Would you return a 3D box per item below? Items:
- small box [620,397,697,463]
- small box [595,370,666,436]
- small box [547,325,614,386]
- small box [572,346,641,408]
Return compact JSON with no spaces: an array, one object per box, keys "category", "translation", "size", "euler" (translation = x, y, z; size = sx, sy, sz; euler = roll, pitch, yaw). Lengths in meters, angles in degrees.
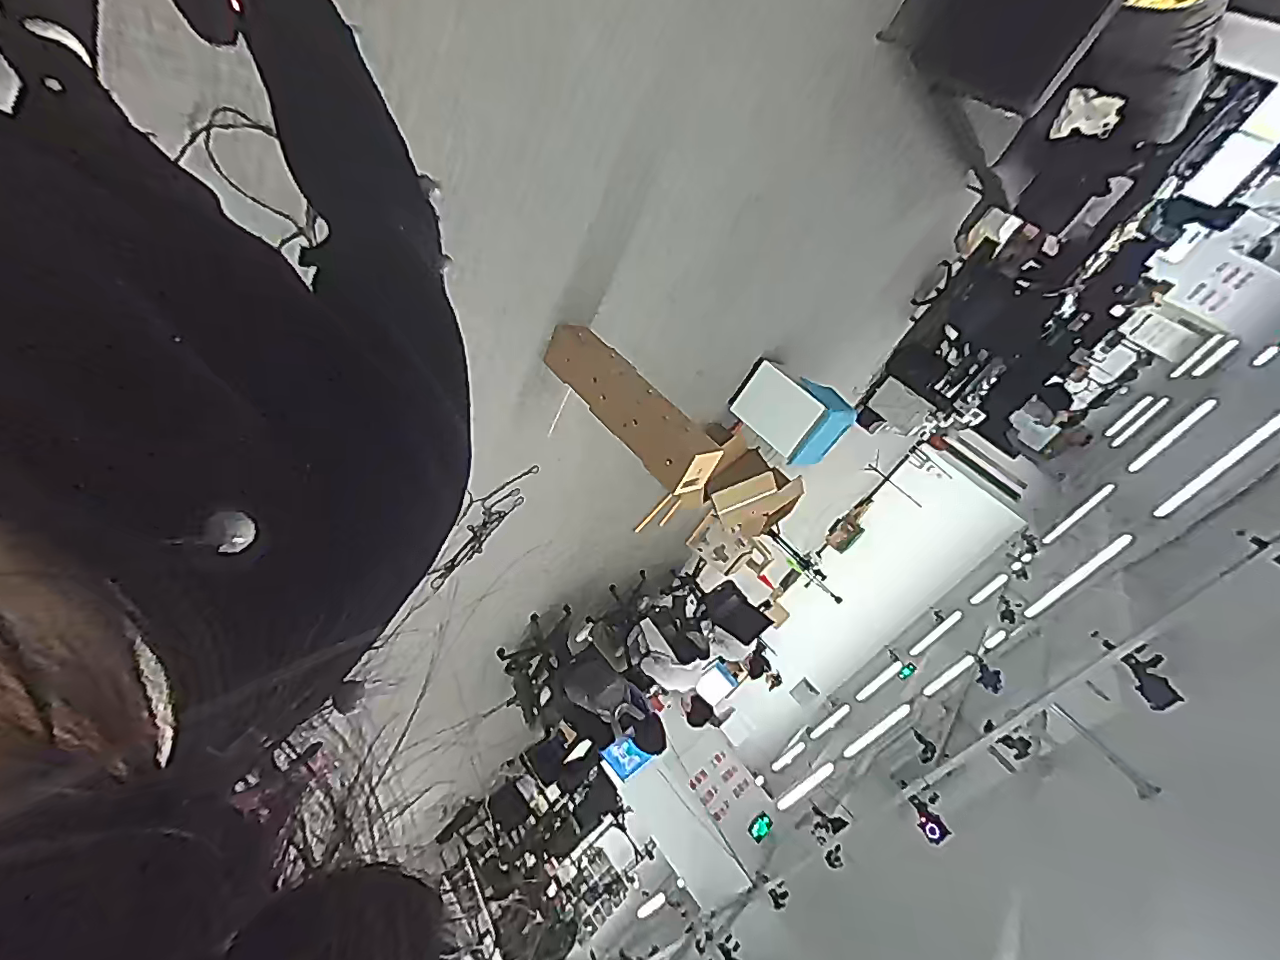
[{"category":"small box","translation":[0.061,-0.183,1.922],"size":[0.179,0.176,0.168],"euler":[-12,139,-47]},{"category":"small box","translation":[-0.042,-0.285,1.996],"size":[0.168,0.176,0.179],"euler":[-13,141,-48]},{"category":"small box","translation":[-0.242,-0.494,2.148],"size":[0.168,0.176,0.179],"euler":[-11,140,-49]},{"category":"small box","translation":[-0.133,-0.396,2.074],"size":[0.168,0.176,0.179],"euler":[-10,138,-49]}]
